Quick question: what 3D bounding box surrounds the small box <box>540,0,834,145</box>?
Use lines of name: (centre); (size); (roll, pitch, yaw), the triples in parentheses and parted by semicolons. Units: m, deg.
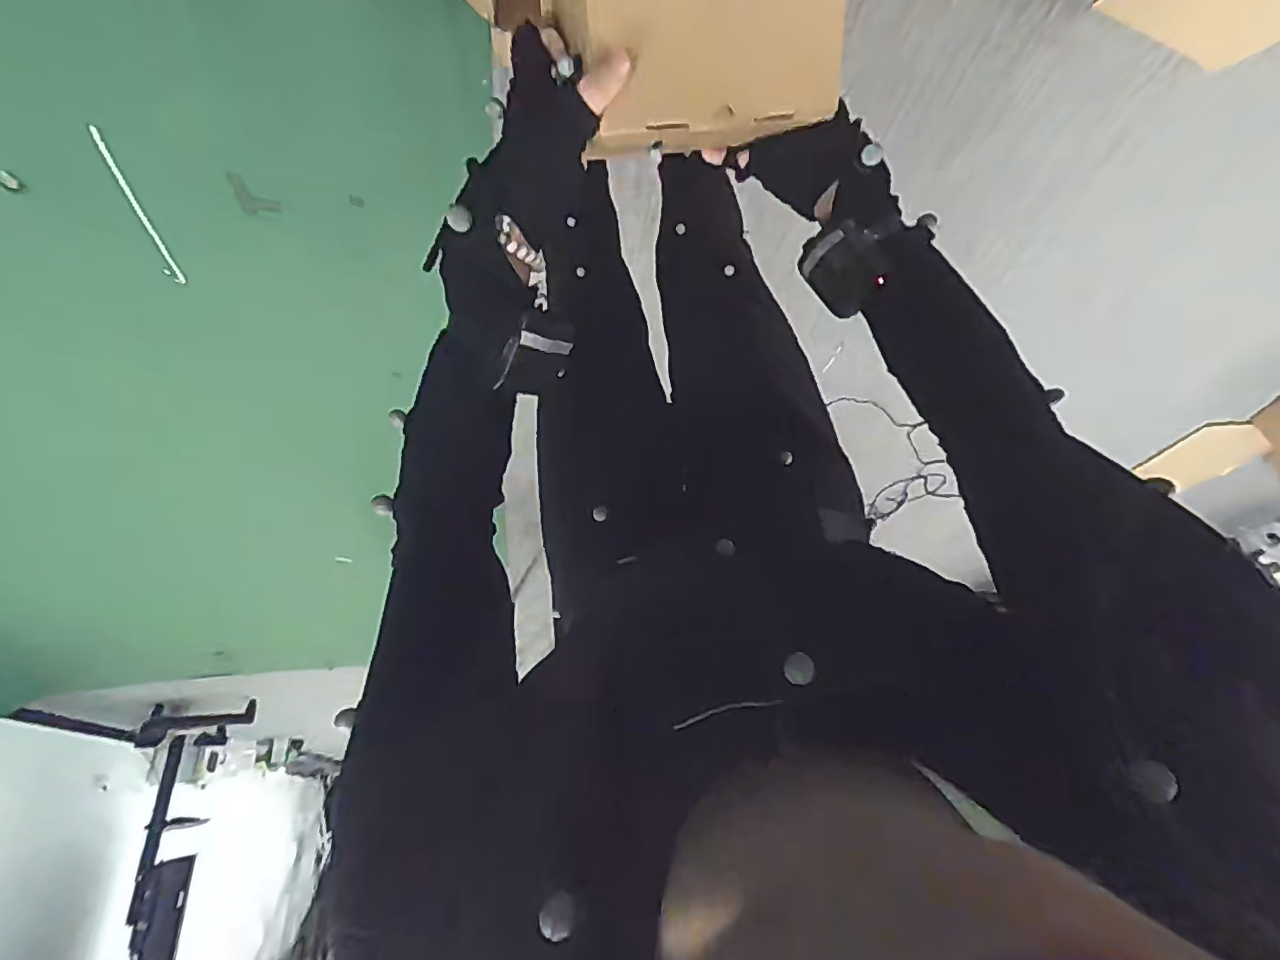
small box: (0.020, -0.352, 0.381); (0.168, 0.176, 0.179); (-13, 120, -10)
